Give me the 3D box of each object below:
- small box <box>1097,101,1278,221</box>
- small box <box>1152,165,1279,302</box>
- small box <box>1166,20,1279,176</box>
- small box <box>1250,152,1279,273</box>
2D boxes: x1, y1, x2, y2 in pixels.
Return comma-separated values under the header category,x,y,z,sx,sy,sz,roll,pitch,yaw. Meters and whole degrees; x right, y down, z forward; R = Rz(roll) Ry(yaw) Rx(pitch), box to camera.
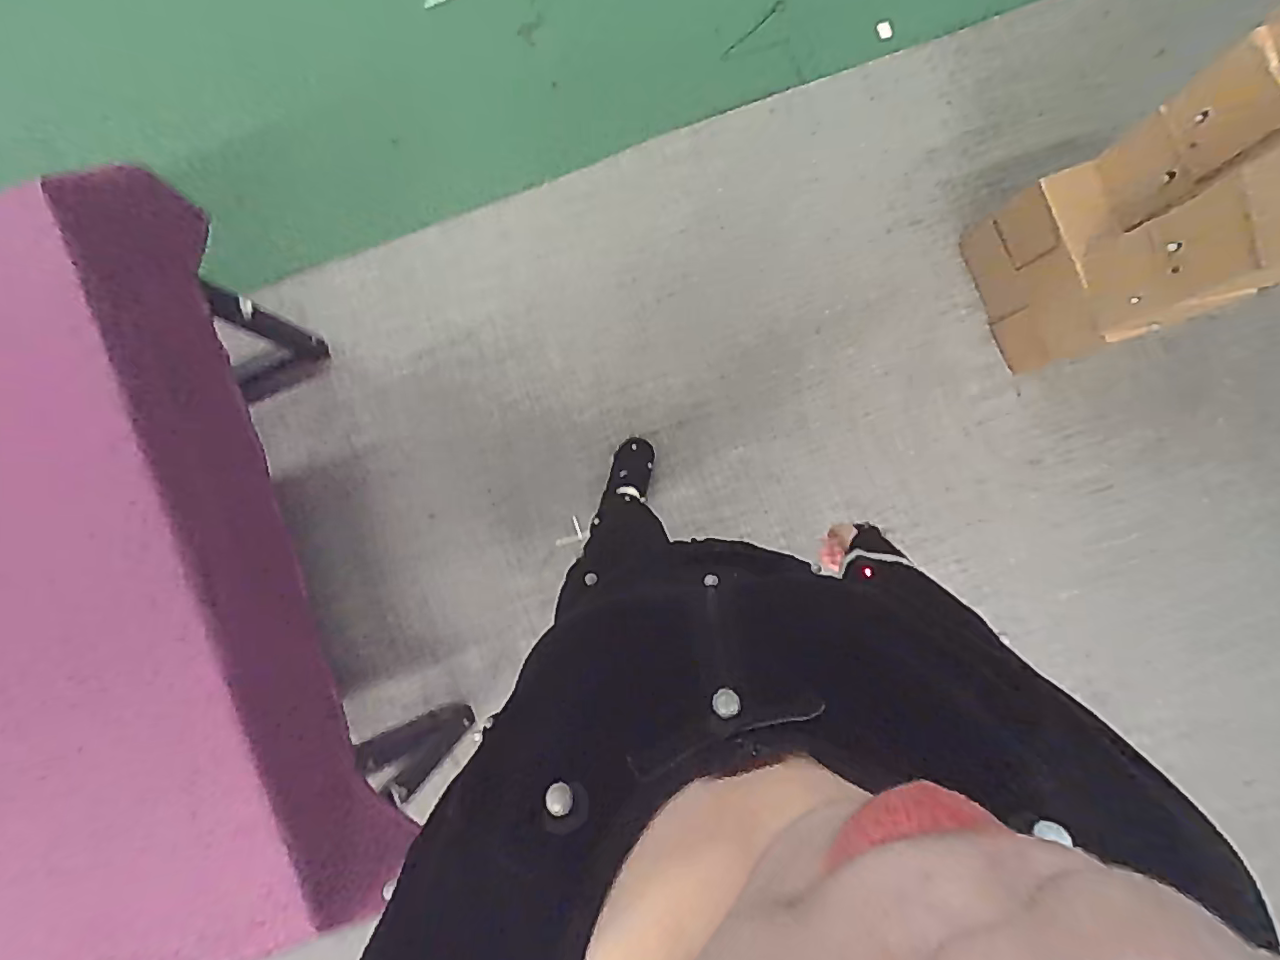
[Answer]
category,x,y,z,sx,sy,sz,roll,pitch,yaw
small box,1.112,-0.665,1.114,0.168,0.176,0.179,-21,86,-2
small box,1.060,-0.429,0.935,0.179,0.176,0.168,-12,86,0
small box,1.109,-0.680,0.952,0.179,0.176,0.168,-19,86,0
small box,1.044,-0.423,0.770,0.168,0.176,0.179,-7,85,1
